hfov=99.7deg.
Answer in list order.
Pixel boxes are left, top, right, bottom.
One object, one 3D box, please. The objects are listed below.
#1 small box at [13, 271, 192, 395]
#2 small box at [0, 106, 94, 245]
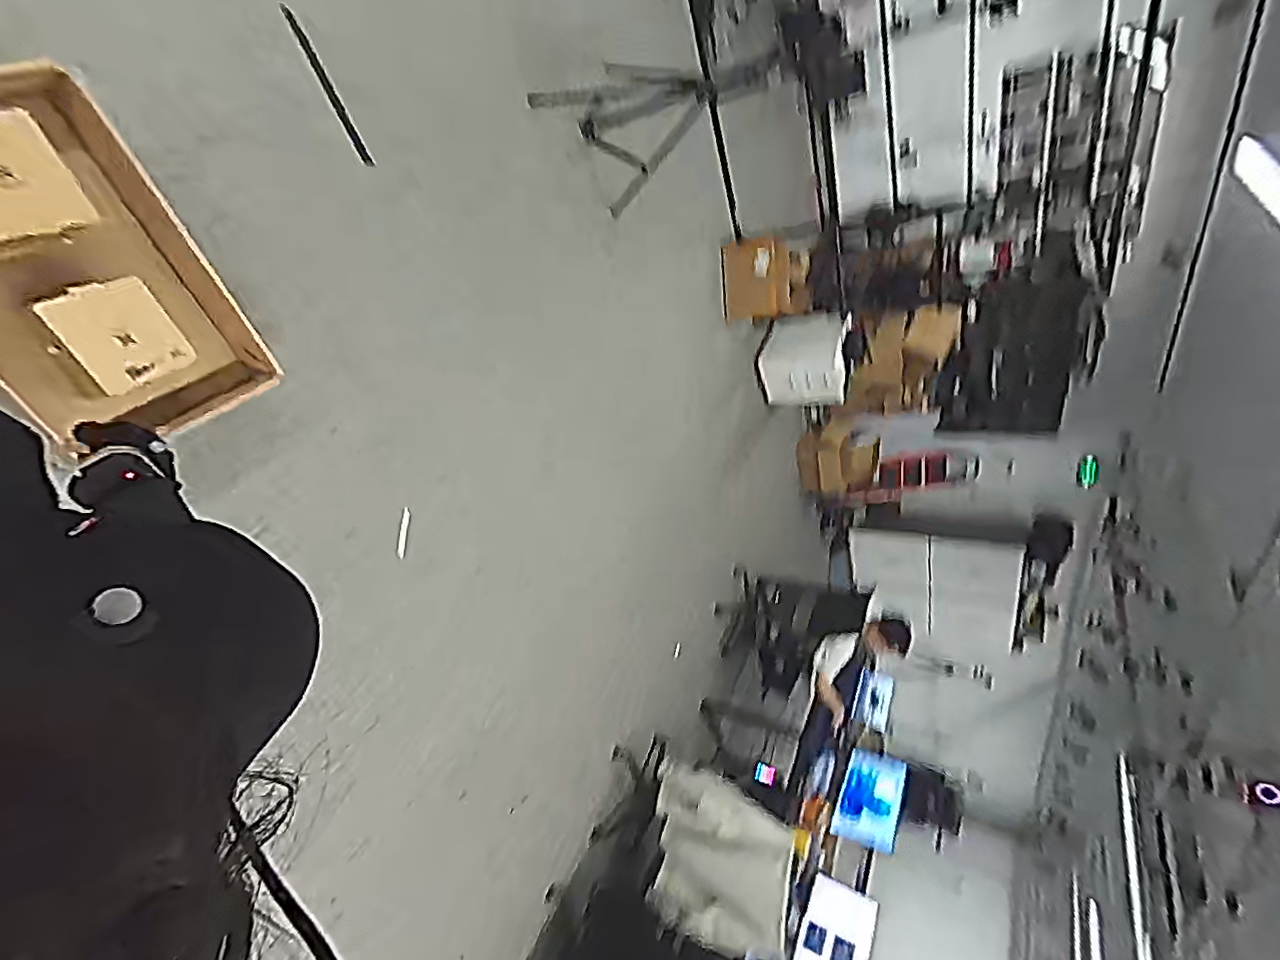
[{"bbox_3d":[-1.030,-0.276,1.038,0.168,0.176,0.179,-49,131,-41],"label":"small box"},{"bbox_3d":[-1.095,-0.501,0.909,0.168,0.176,0.179,-48,132,-44],"label":"small box"}]
